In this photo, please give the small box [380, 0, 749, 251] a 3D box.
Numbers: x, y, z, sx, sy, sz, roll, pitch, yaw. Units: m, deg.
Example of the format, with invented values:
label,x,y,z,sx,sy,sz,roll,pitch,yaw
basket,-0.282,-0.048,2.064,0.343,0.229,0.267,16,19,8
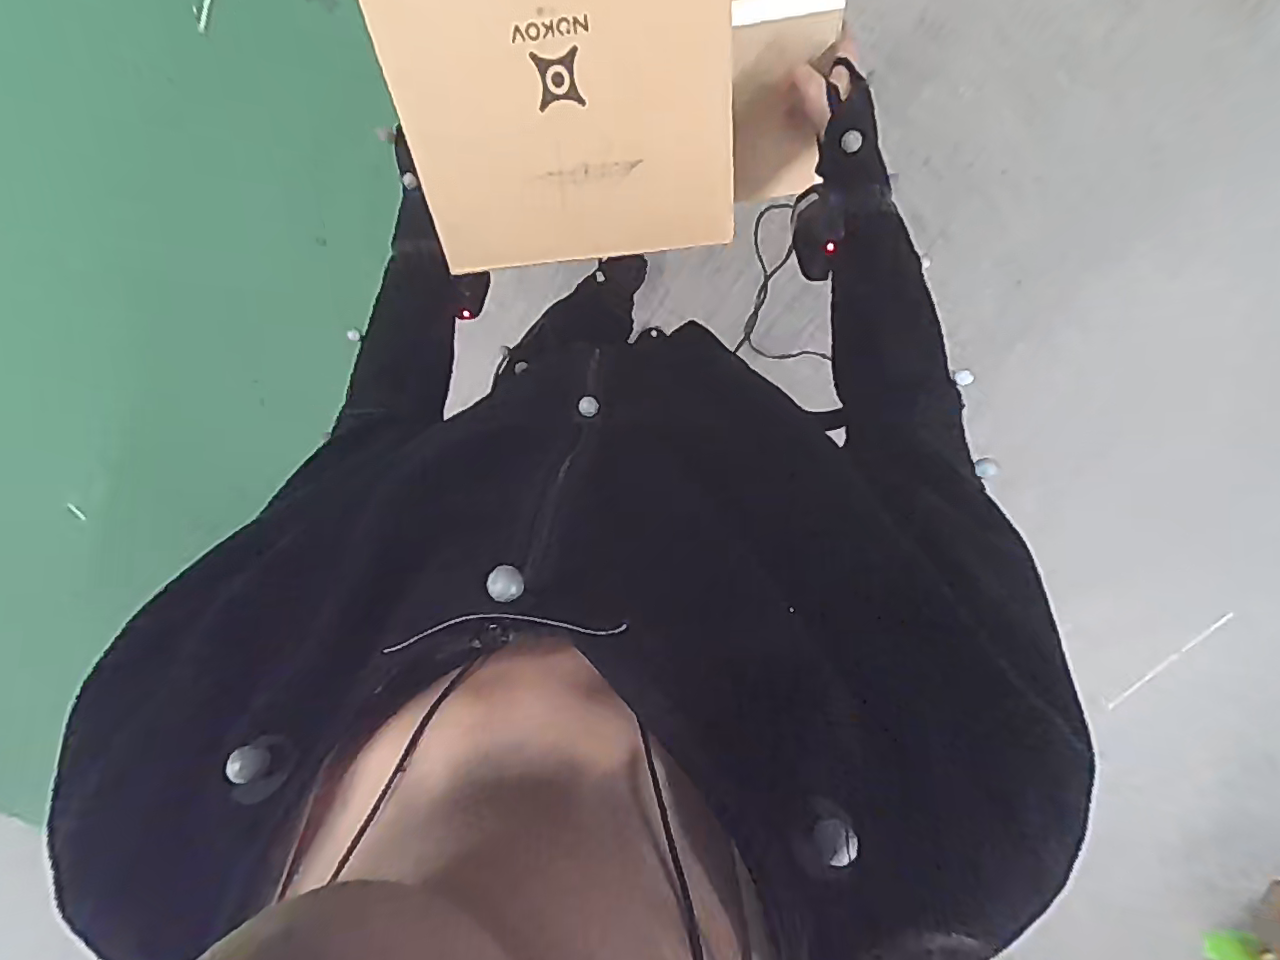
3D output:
label,x,y,z,sx,sy,sz,roll,pitch,yaw
small box,-0.030,-0.251,0.309,0.168,0.176,0.179,-3,129,6
